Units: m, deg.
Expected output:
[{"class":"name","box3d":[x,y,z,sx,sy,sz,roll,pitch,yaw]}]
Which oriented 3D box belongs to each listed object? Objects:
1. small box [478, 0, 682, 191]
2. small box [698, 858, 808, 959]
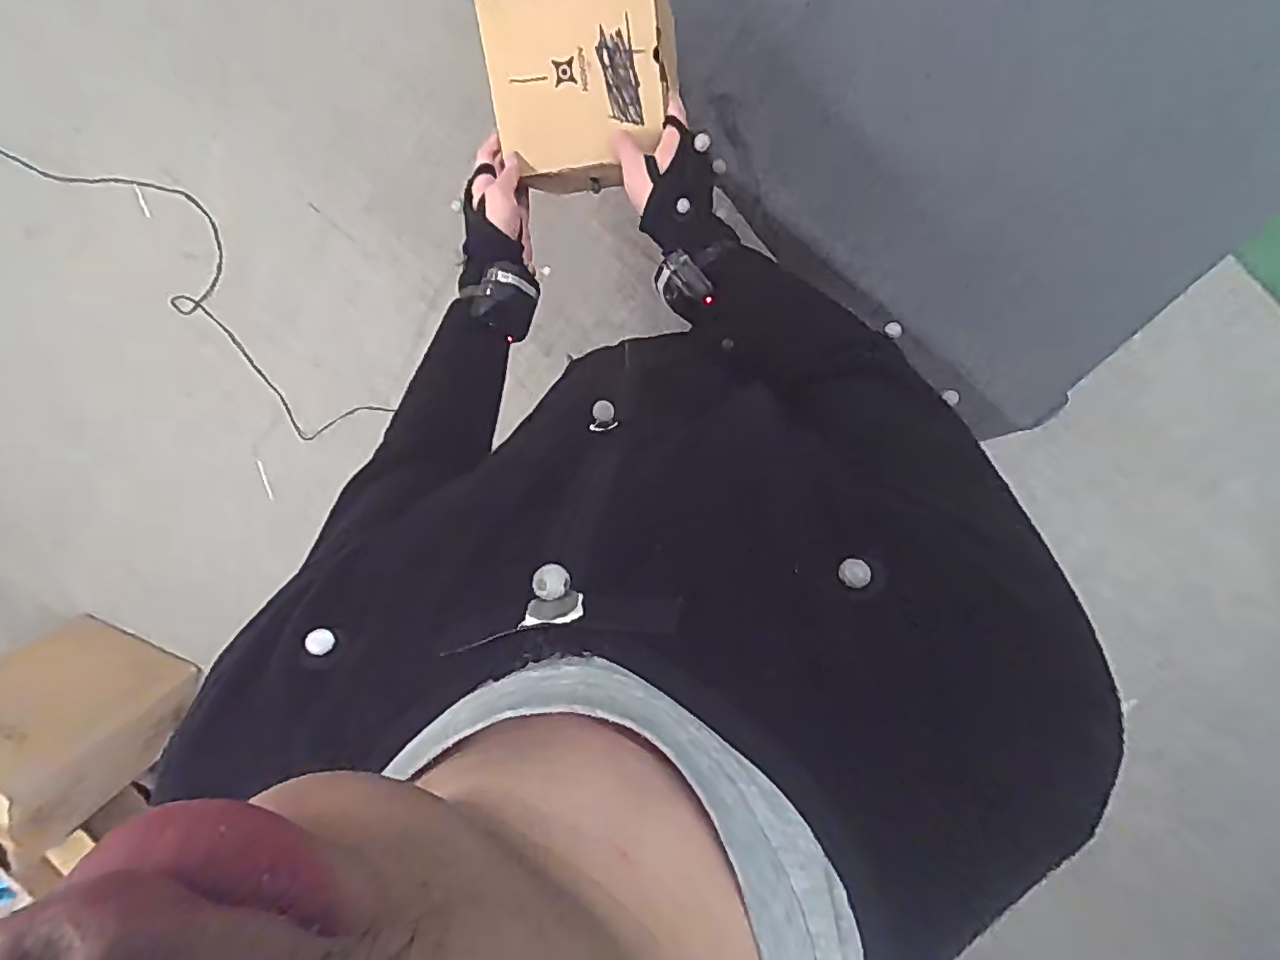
[{"class":"small box","box3d":[-0.047,-0.419,0.580,0.179,0.176,0.168,-2,111,10]},{"class":"small box","box3d":[0.248,0.979,1.175,0.168,0.176,0.179,42,110,-6]}]
